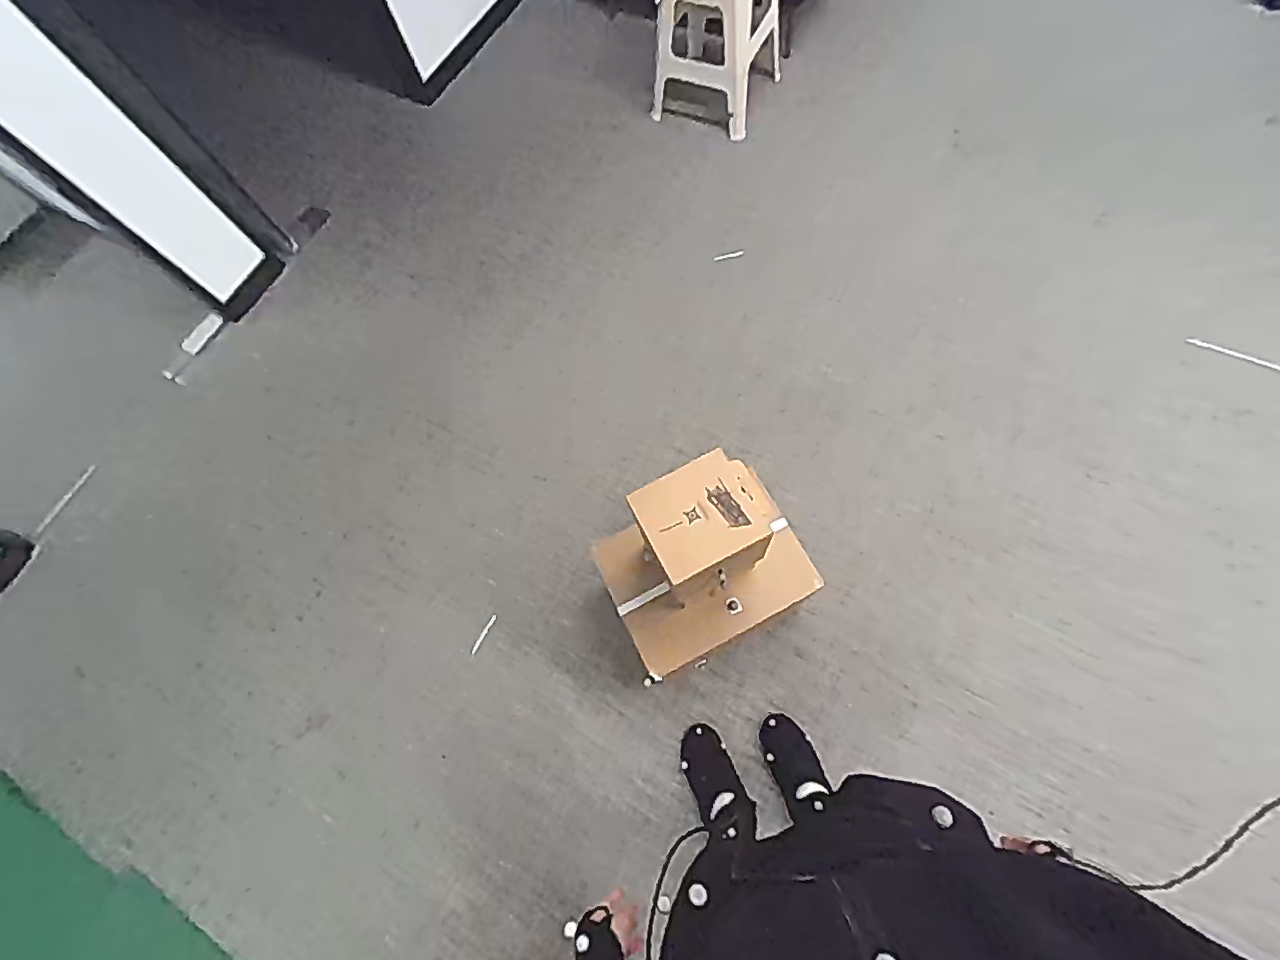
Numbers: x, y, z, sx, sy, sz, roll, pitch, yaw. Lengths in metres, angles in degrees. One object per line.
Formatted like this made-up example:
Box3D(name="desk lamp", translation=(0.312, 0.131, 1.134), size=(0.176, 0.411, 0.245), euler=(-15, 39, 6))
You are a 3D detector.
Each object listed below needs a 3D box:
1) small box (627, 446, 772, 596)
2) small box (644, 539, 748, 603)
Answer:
Box3D(name="small box", translation=(0.097, 0.076, 0.908), size=(0.179, 0.176, 0.168), euler=(-27, 68, -4))
Box3D(name="small box", translation=(0.113, 0.120, 1.067), size=(0.179, 0.176, 0.168), euler=(-30, 67, -7))
